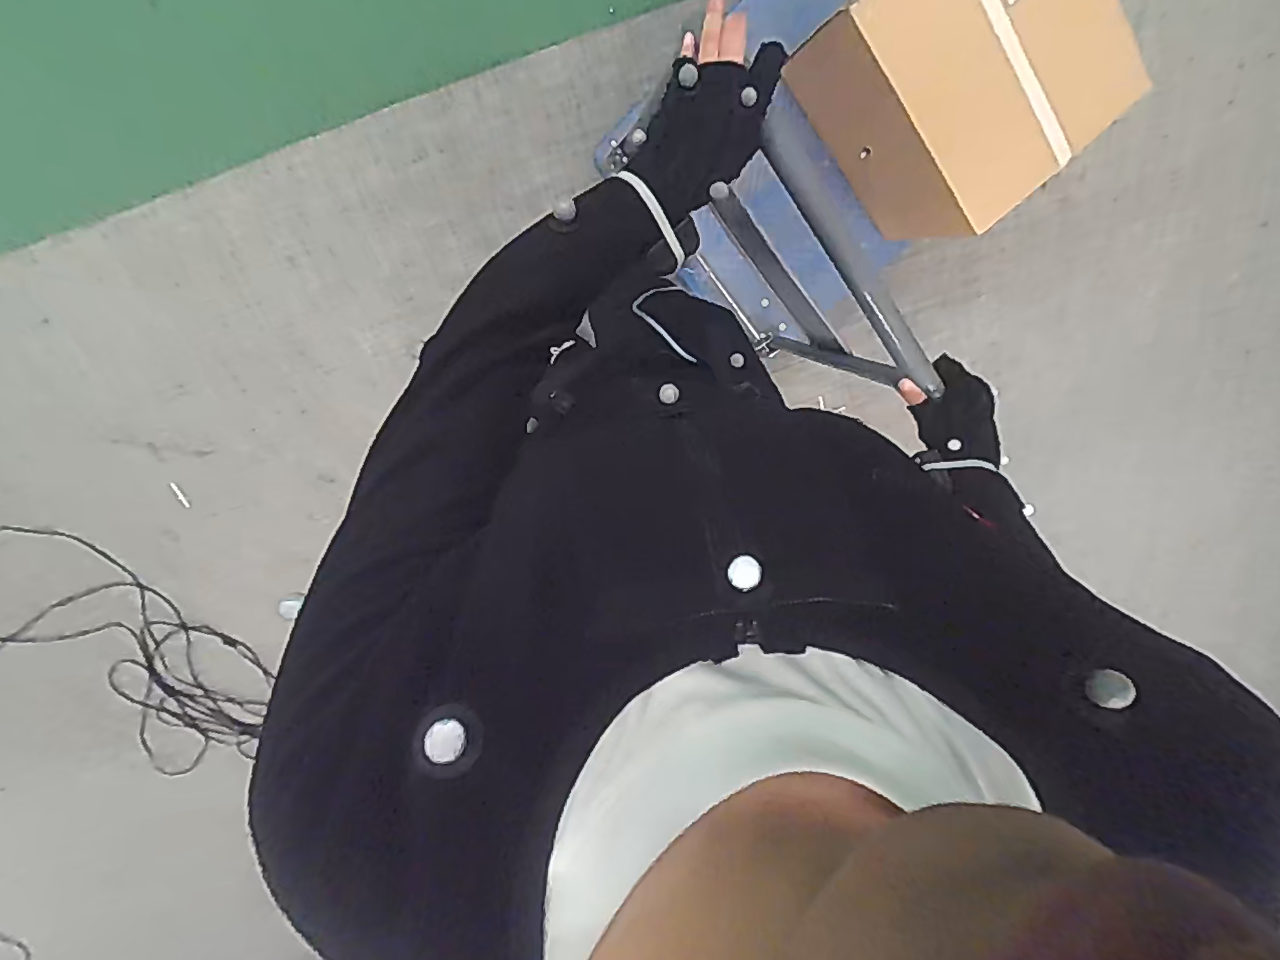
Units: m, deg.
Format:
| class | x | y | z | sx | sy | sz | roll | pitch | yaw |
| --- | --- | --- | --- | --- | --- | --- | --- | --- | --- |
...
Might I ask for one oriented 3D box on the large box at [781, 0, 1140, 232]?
| class | x | y | z | sx | sy | sz | roll | pitch | yaw |
| --- | --- | --- | --- | --- | --- | --- | --- | --- | --- |
| large box | 0.521 | -0.701 | 0.940 | 0.320 | 0.320 | 0.408 | -41 | 110 | 11 |
